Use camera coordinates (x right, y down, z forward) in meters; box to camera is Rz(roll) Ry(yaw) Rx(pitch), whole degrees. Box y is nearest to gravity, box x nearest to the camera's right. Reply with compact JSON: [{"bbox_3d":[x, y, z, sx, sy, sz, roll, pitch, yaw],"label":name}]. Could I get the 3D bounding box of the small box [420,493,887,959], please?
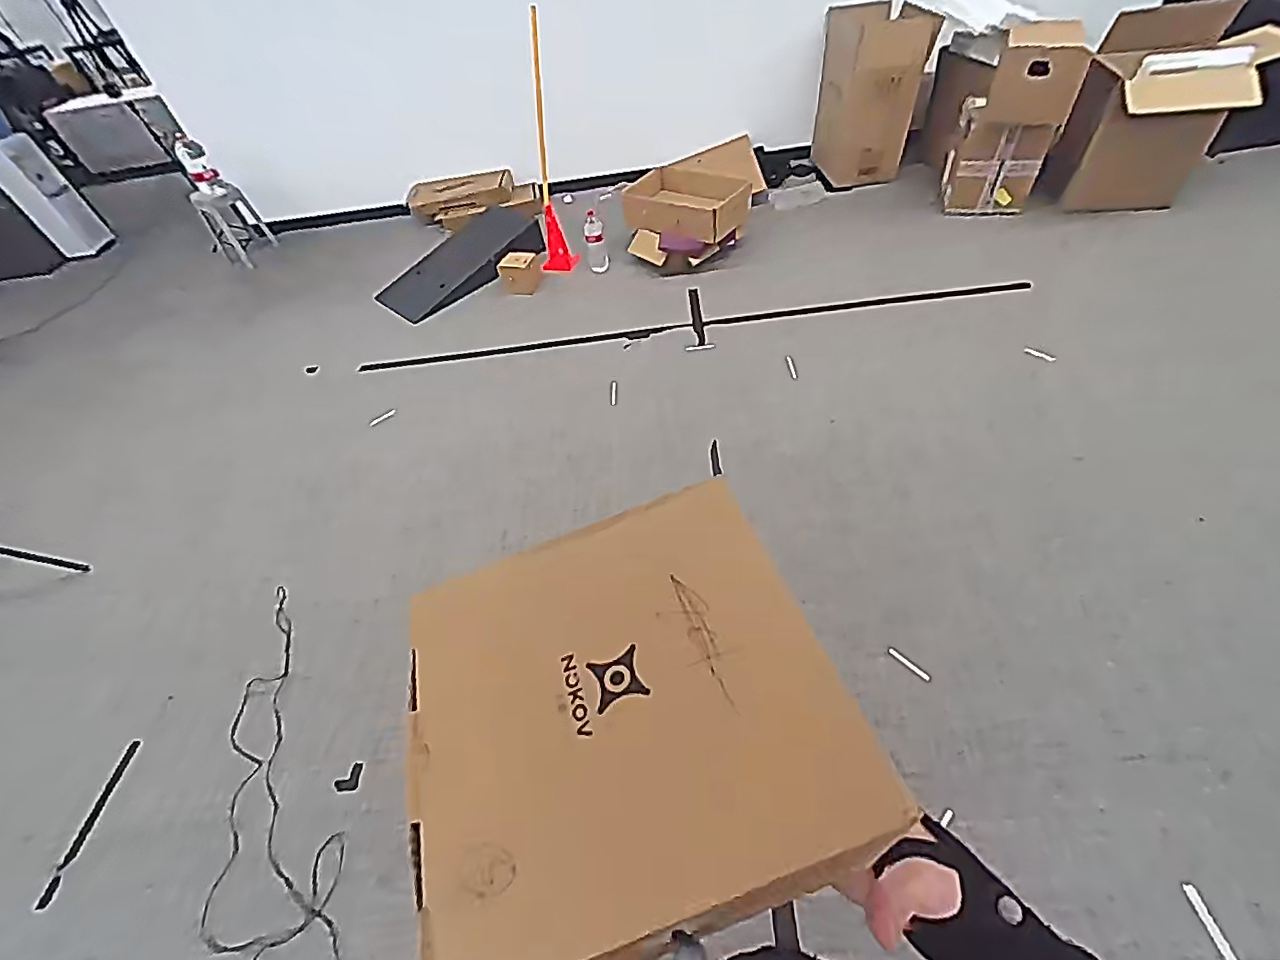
[{"bbox_3d":[0.003,0.143,0.298,0.179,0.176,0.168,-21,49,-3],"label":"small box"}]
